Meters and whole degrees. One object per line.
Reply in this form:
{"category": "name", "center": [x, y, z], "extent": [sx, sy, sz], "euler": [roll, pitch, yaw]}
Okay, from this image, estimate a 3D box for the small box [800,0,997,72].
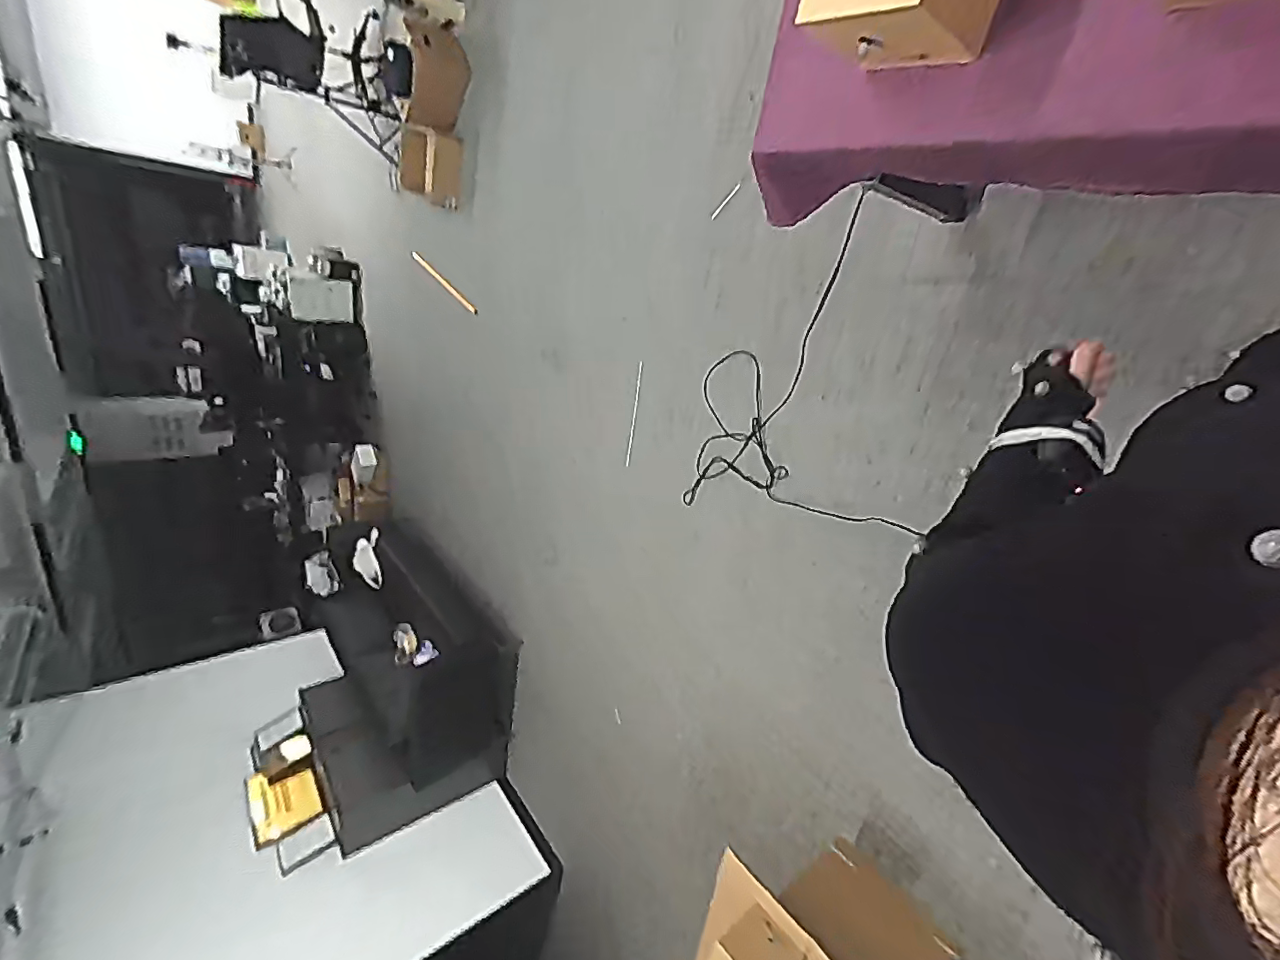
{"category": "small box", "center": [0.331, -0.622, 0.652], "extent": [0.168, 0.176, 0.179], "euler": [36, 121, 42]}
